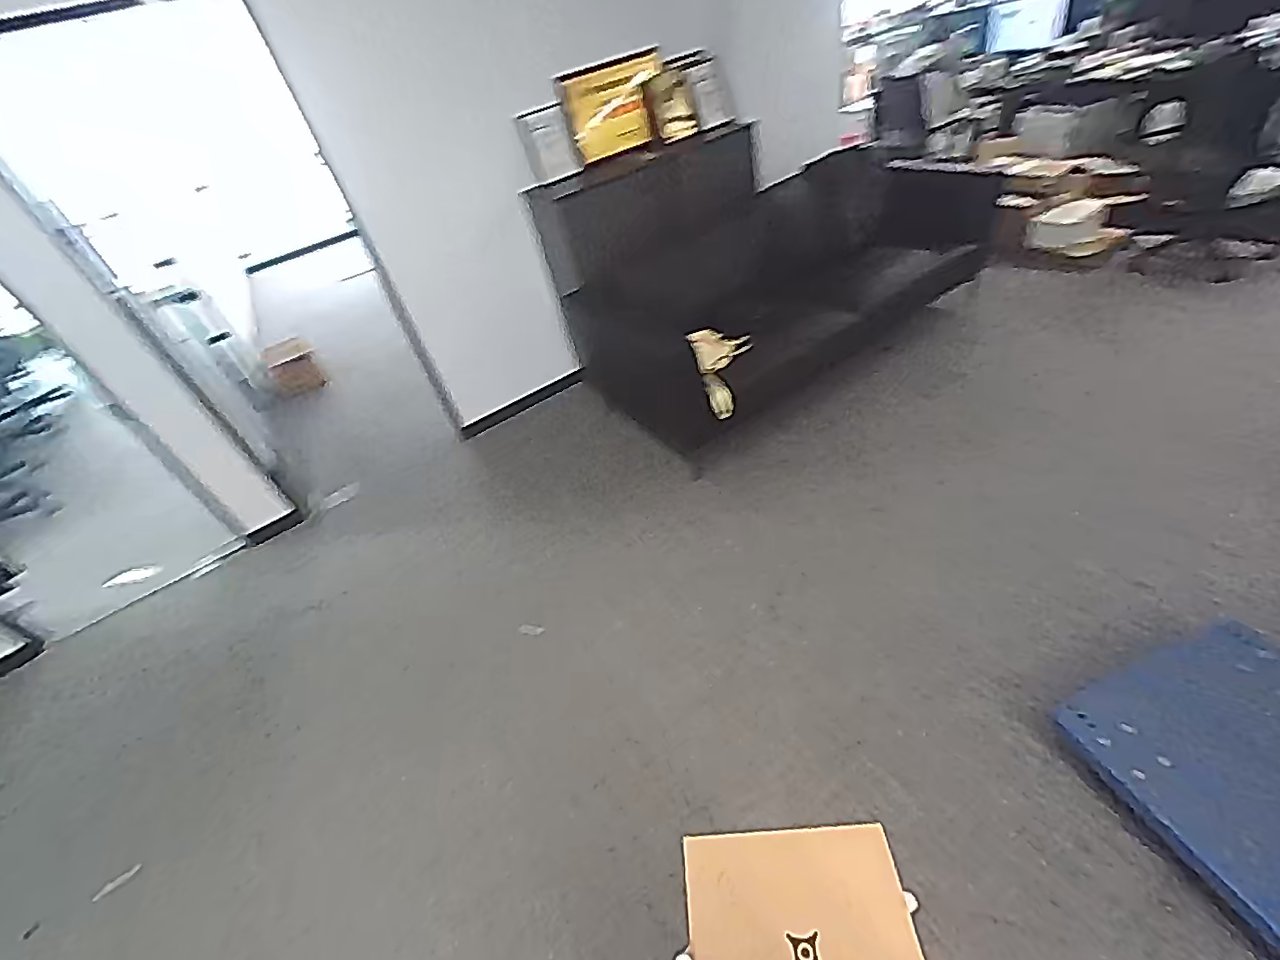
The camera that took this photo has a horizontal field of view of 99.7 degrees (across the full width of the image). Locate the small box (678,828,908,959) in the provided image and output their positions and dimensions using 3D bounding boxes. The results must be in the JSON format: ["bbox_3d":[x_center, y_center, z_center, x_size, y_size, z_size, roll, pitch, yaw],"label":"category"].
[{"bbox_3d":[0.123,0.416,0.447,0.168,0.176,0.179,-7,42,4],"label":"small box"}]
